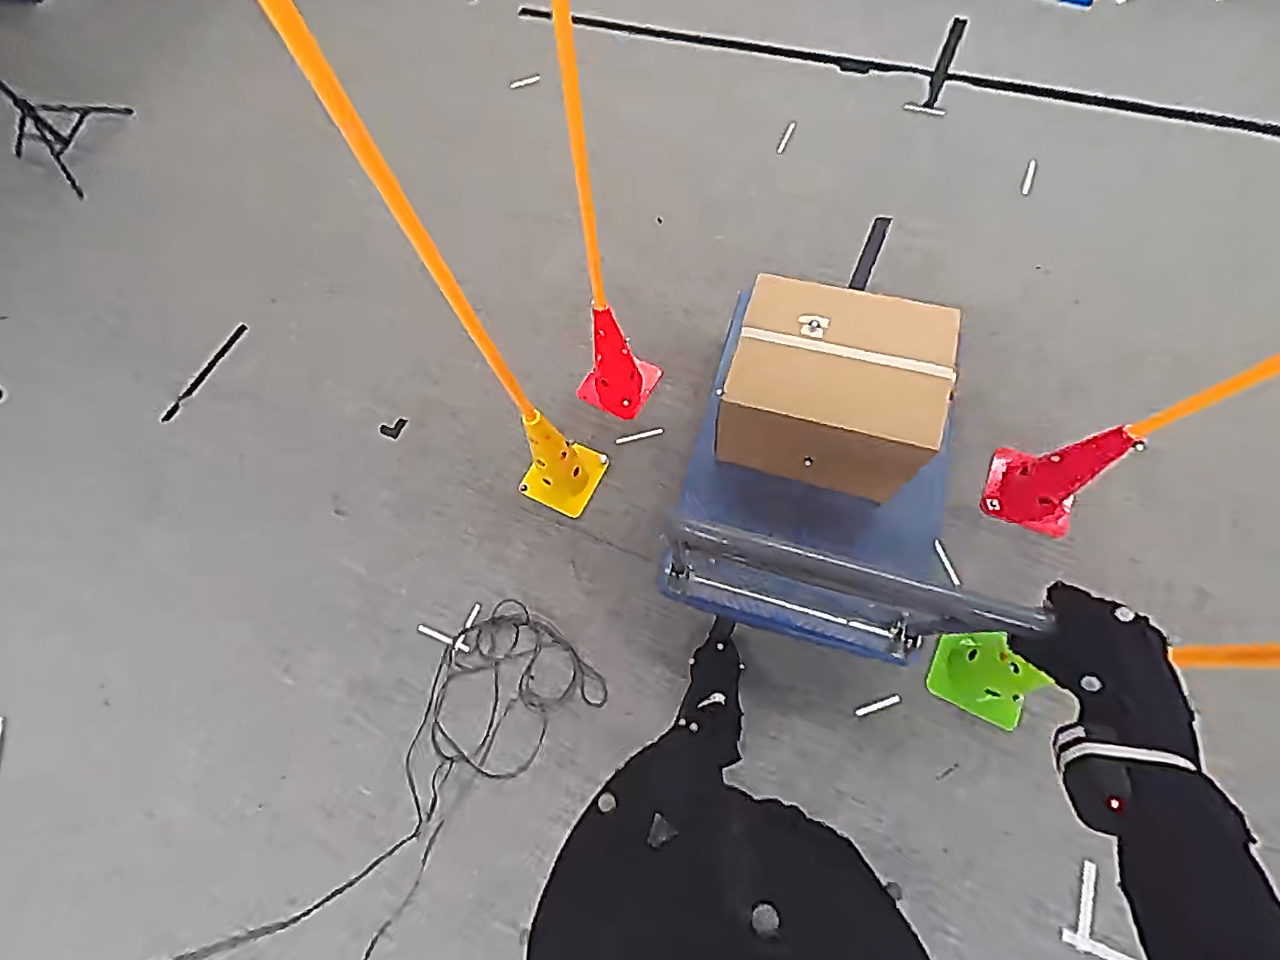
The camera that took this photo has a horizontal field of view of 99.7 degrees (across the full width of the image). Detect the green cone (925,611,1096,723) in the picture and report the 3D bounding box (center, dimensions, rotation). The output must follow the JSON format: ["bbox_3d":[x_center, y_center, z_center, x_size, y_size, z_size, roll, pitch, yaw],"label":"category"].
[{"bbox_3d":[0.771,0.369,1.094,0.202,0.368,0.200,25,73,13],"label":"green cone"}]

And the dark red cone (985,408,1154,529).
[{"bbox_3d":[0.981,-0.051,1.219,0.201,0.394,0.202,21,73,11],"label":"dark red cone"}]

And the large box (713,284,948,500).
[{"bbox_3d":[0.394,-0.181,1.195,0.408,0.320,0.320,15,72,12],"label":"large box"}]

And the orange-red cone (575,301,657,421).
[{"bbox_3d":[-0.085,-0.352,1.466,0.198,0.360,0.199,28,72,14],"label":"orange-red cone"}]
